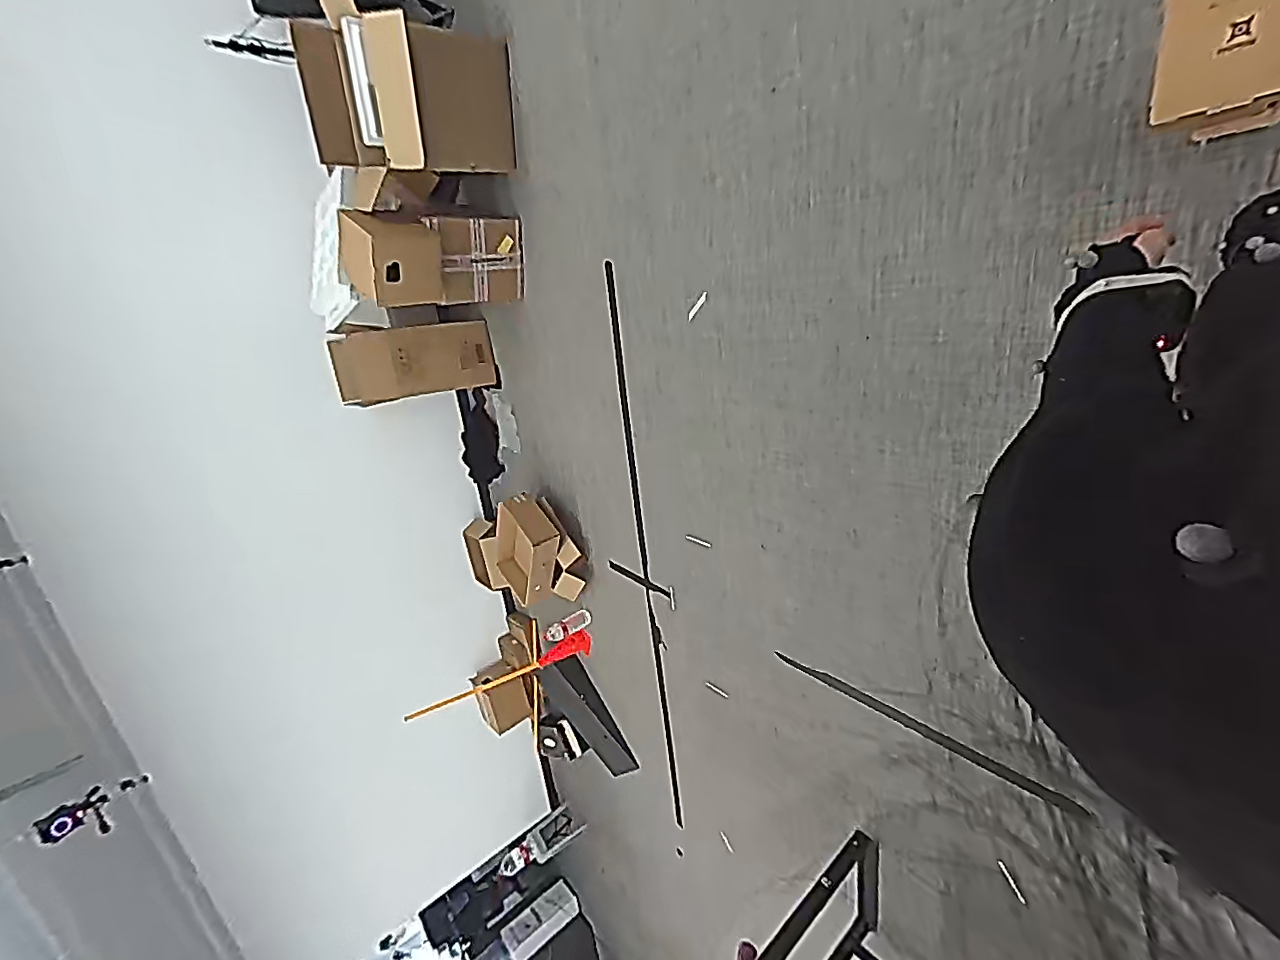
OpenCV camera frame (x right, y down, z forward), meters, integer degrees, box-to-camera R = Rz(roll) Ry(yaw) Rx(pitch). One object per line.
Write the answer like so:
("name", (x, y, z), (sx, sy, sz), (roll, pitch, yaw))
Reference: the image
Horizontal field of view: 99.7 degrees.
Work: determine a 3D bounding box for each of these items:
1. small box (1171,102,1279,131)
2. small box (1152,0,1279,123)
("small box", (0.985, -0.674, 0.857), (0.168, 0.176, 0.179), (14, 118, 49))
("small box", (0.862, -0.626, 0.762), (0.168, 0.176, 0.179), (13, 117, 49))
